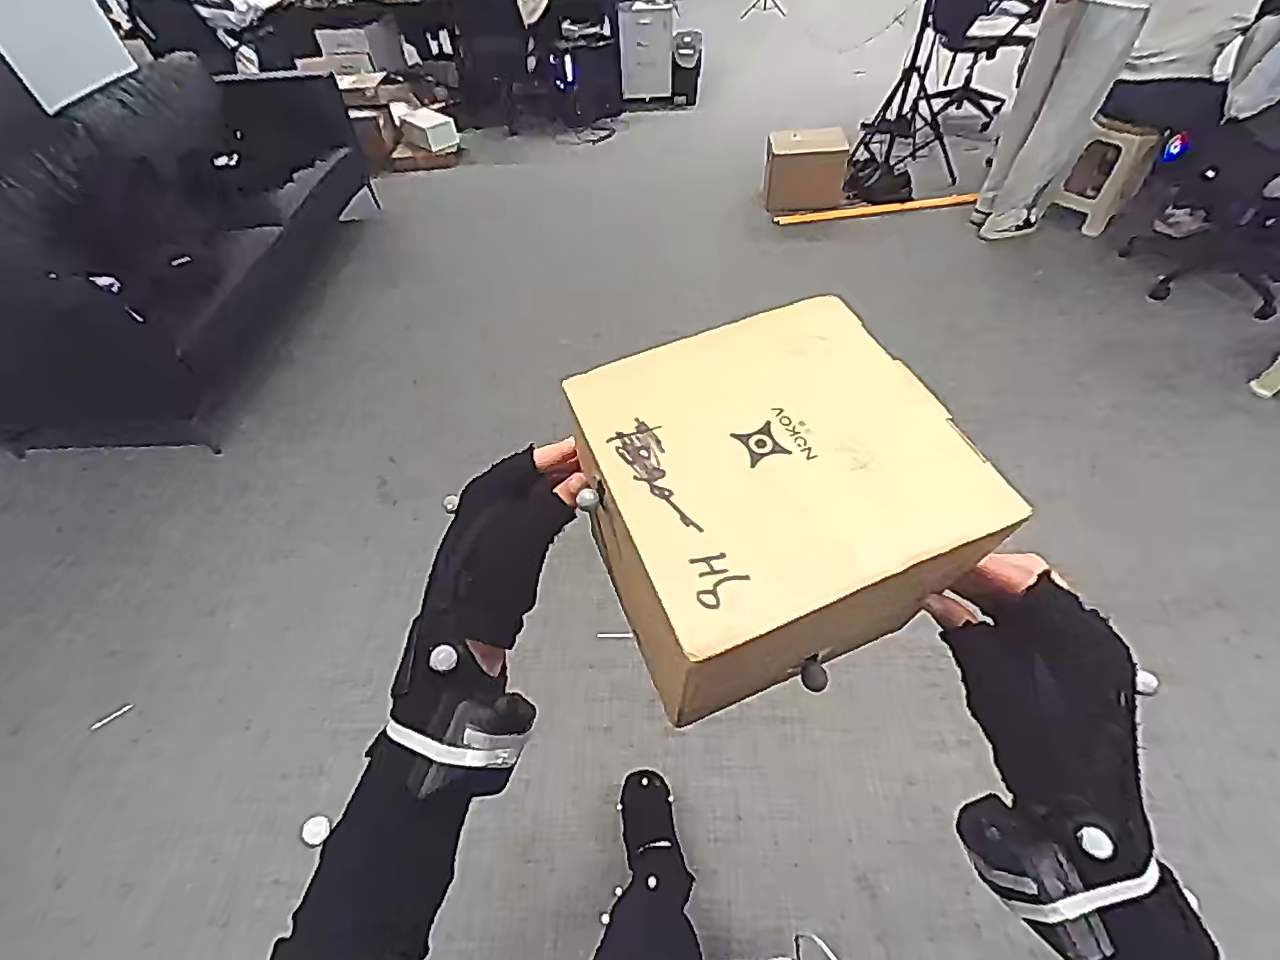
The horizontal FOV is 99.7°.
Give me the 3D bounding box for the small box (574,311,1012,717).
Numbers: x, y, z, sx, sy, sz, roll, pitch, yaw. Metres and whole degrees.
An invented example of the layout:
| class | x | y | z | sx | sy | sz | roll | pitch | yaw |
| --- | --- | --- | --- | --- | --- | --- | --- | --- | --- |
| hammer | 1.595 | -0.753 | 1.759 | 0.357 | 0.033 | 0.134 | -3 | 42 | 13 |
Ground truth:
| class | x | y | z | sx | sy | sz | roll | pitch | yaw |
| --- | --- | --- | --- | --- | --- | --- | --- | --- | --- |
| small box | 0.071 | 0.028 | 0.348 | 0.179 | 0.176 | 0.168 | -20 | 58 | -12 |
